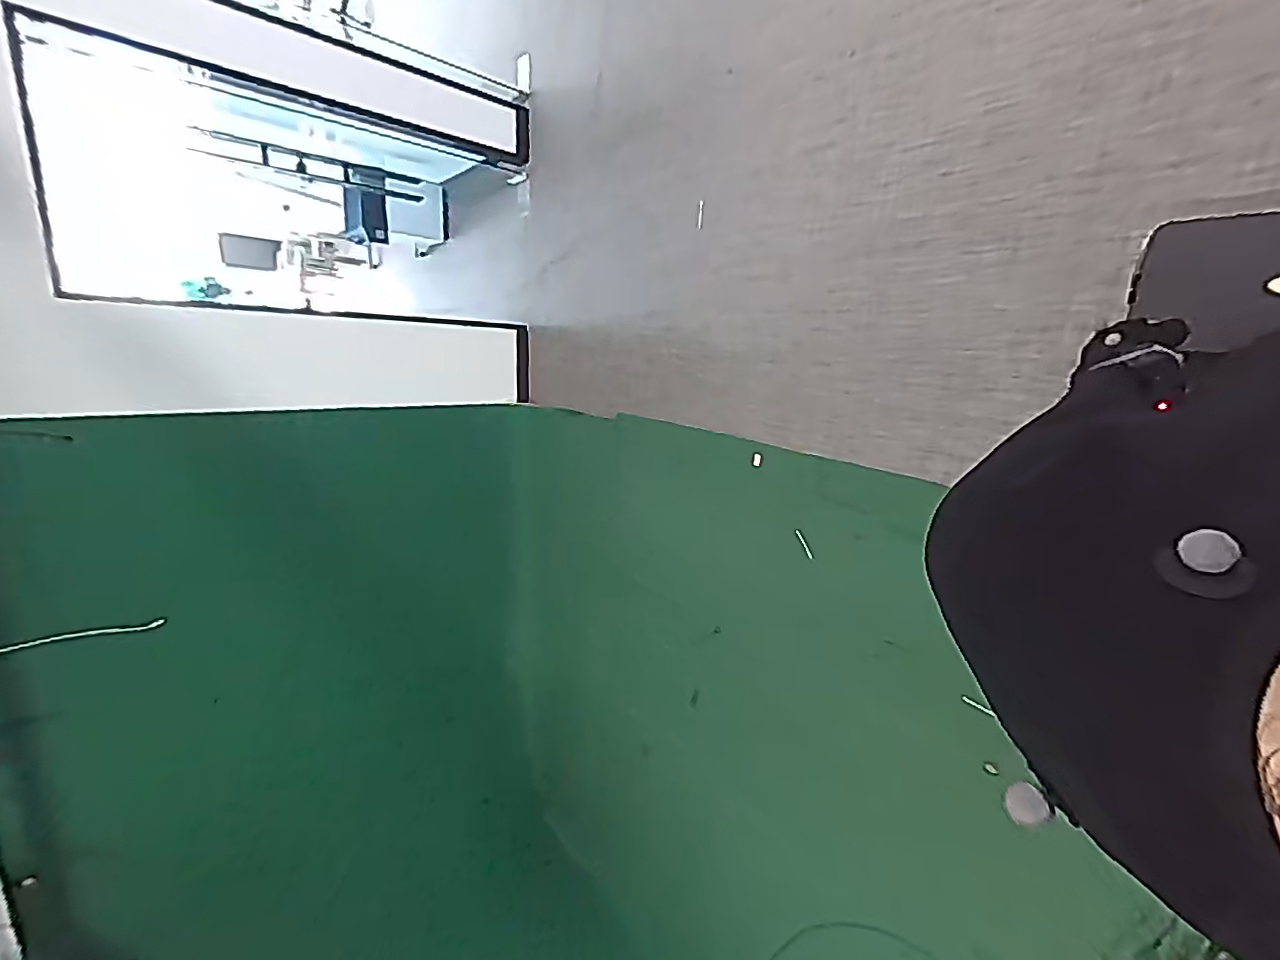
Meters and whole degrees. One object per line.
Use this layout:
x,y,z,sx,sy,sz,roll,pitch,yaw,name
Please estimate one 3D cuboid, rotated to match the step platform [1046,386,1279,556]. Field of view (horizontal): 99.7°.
1.124,0.011,0.903,0.684,0.204,0.286,18,109,46,step platform
